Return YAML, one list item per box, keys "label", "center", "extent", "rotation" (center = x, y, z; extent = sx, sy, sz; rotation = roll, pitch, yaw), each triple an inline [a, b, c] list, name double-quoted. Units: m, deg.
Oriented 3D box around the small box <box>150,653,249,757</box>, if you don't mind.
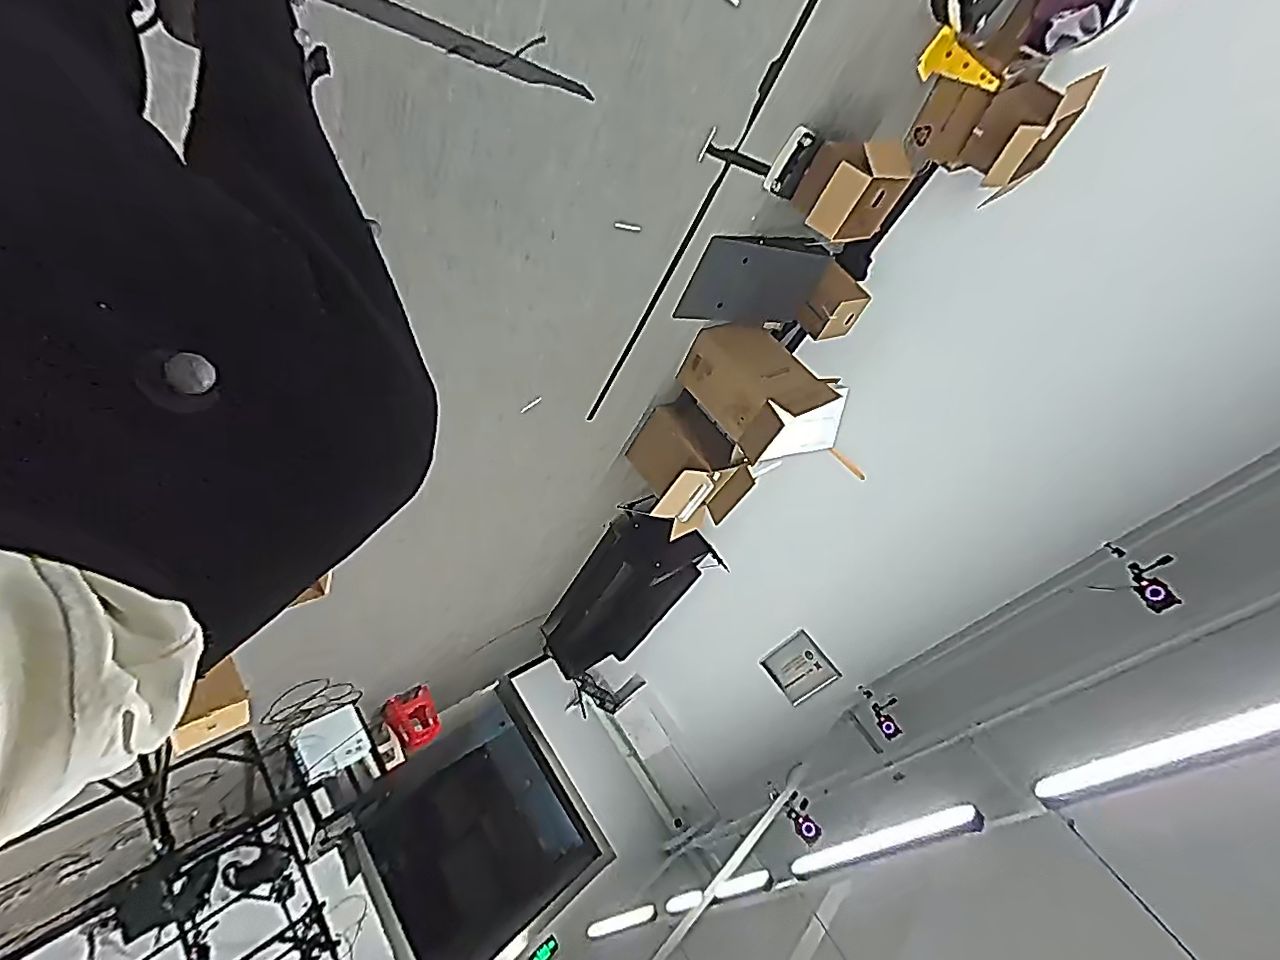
- label: "small box"
  center: [-1.171, 0.595, 1.445]
  extent: [0.168, 0.176, 0.179]
  rotation: [-20, 152, -44]
